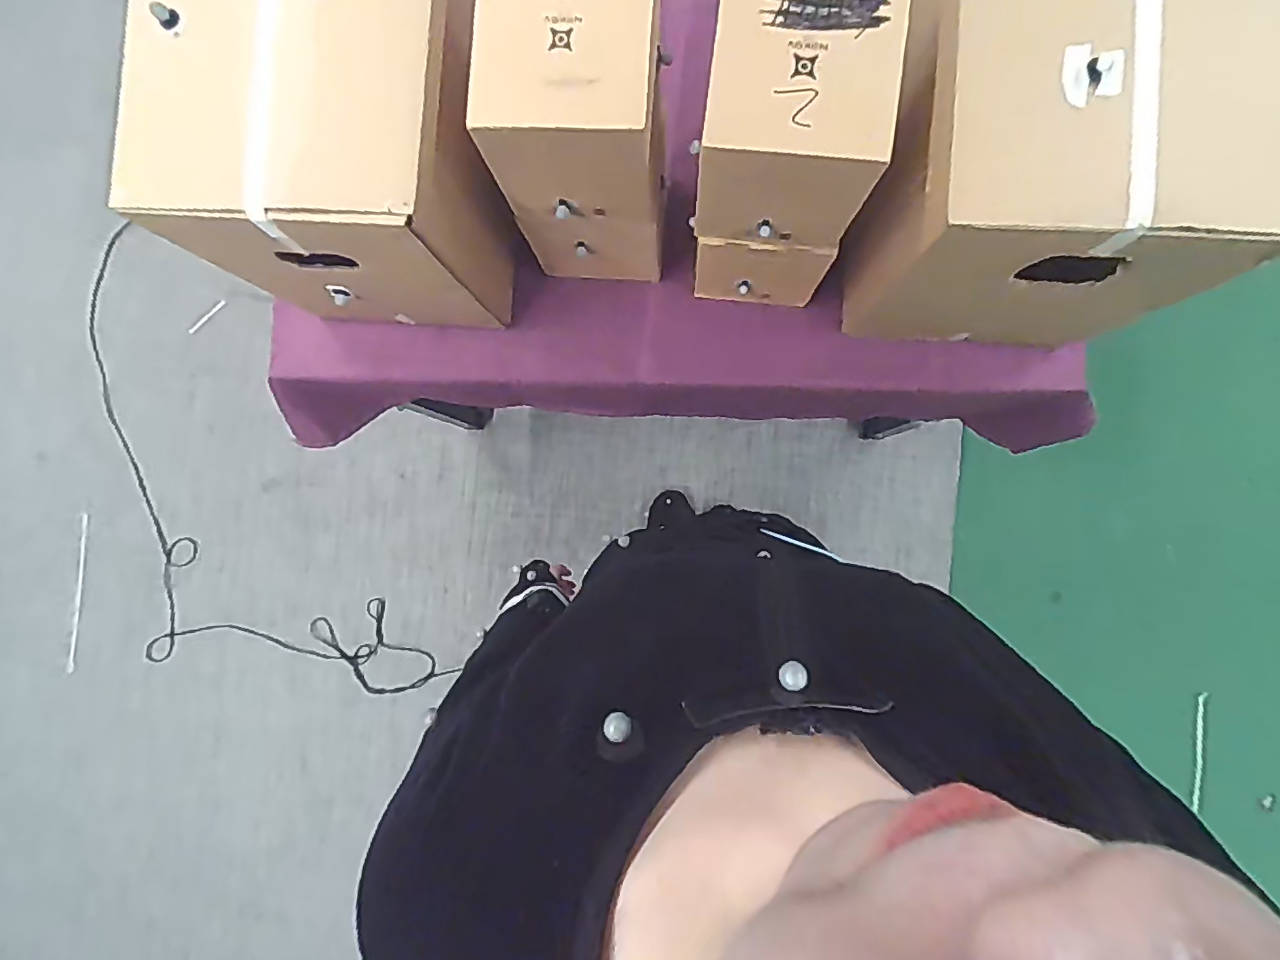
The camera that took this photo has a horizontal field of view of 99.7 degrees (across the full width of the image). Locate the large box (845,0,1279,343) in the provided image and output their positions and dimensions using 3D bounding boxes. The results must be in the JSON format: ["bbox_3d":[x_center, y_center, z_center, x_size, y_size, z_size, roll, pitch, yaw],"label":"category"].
[{"bbox_3d":[0.455,-0.410,0.641,0.320,0.320,0.408,5,88,4],"label":"large box"}]
